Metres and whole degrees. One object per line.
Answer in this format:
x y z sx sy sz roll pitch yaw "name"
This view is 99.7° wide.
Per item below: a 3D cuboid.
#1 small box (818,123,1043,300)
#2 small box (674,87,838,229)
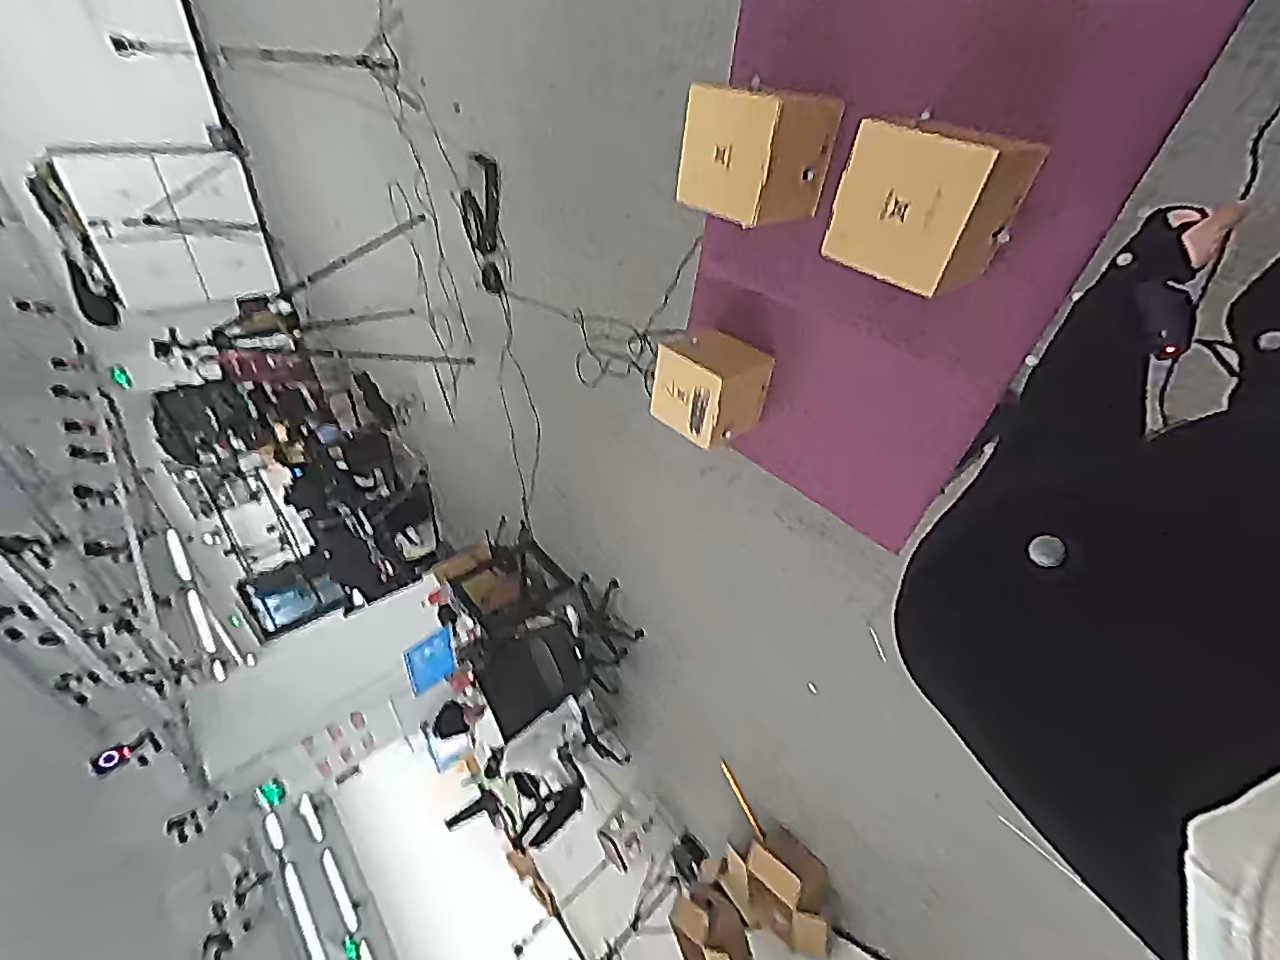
0.380 -0.361 0.720 0.179 0.176 0.168 40 139 31 "small box"
0.183 -0.521 0.877 0.179 0.176 0.168 36 136 32 "small box"
